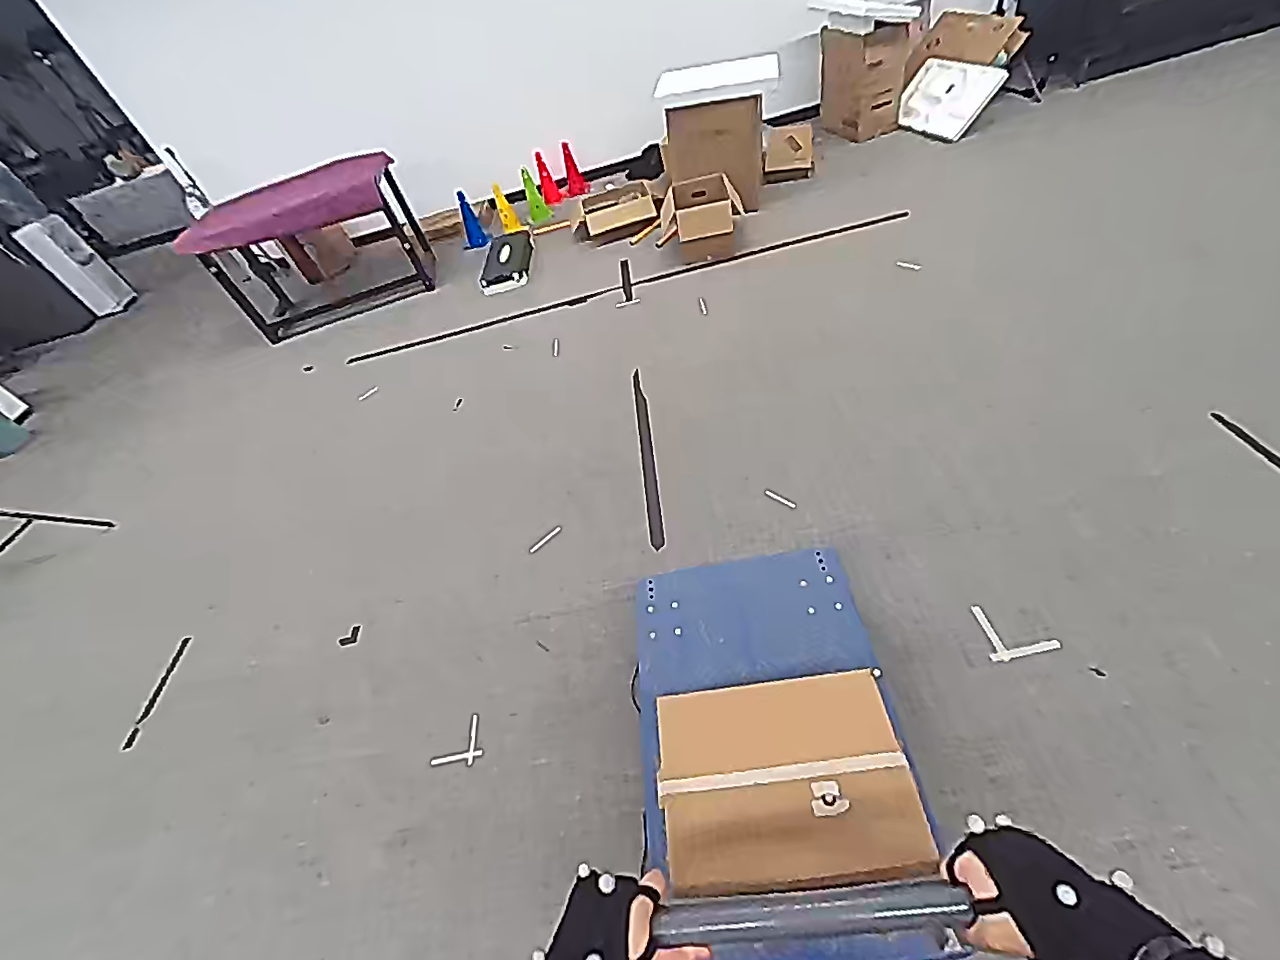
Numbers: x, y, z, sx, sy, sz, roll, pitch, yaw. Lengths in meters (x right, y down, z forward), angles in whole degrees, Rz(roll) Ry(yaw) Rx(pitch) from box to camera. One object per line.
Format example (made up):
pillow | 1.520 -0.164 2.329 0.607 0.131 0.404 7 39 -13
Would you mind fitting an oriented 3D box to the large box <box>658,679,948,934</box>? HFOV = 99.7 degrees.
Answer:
large box | 0.263 0.603 0.990 0.408 0.320 0.320 -10 46 6
